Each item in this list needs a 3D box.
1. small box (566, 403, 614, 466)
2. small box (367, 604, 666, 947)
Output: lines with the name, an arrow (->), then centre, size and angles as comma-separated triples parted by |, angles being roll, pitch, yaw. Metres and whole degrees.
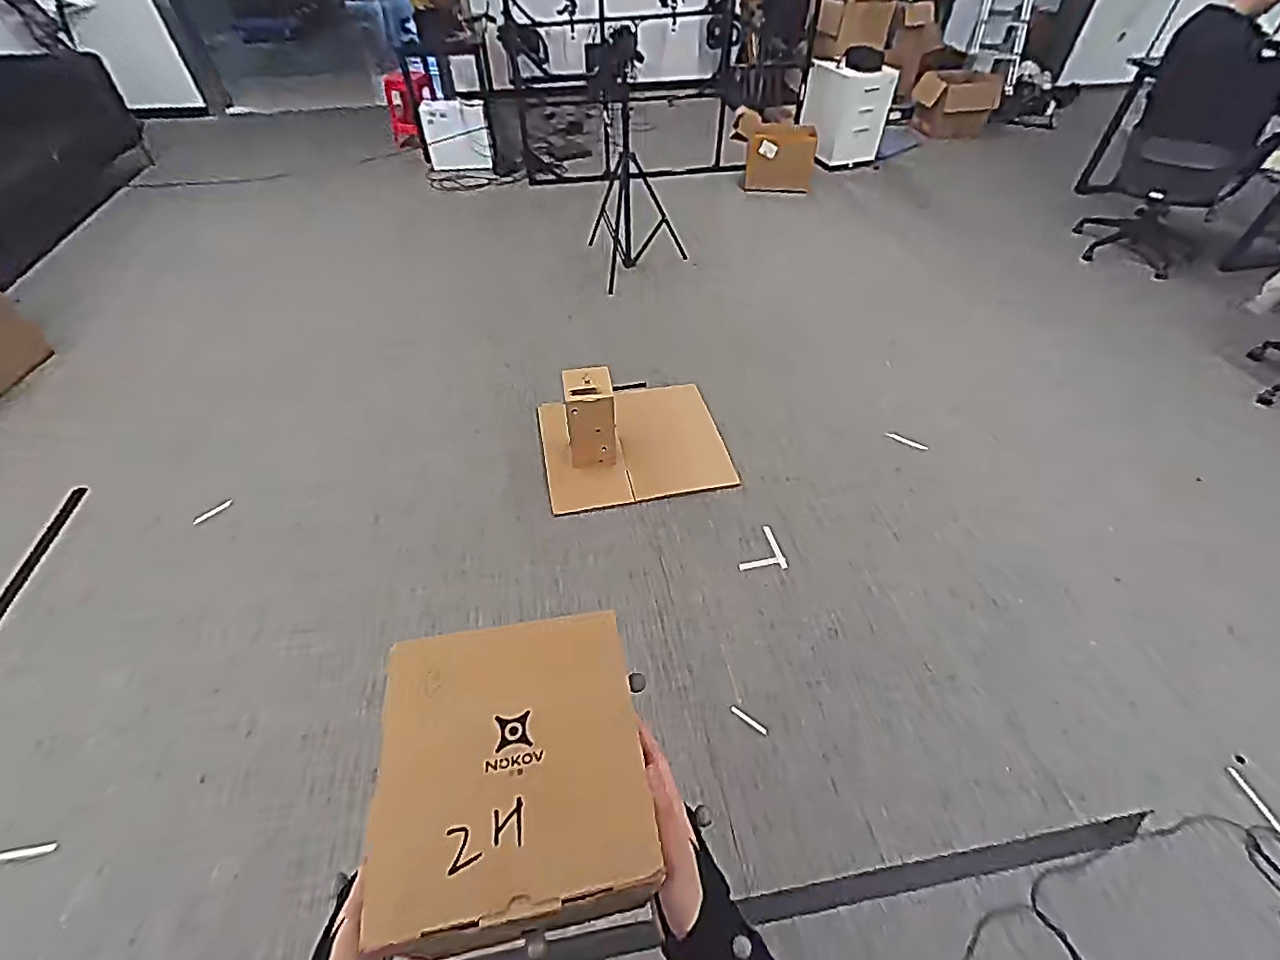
small box -> -0.188, -0.167, 2.048 | 0.168, 0.176, 0.179 | -5, 48, -7
small box -> -0.085, 0.221, 0.410 | 0.168, 0.176, 0.179 | -6, 48, -10
